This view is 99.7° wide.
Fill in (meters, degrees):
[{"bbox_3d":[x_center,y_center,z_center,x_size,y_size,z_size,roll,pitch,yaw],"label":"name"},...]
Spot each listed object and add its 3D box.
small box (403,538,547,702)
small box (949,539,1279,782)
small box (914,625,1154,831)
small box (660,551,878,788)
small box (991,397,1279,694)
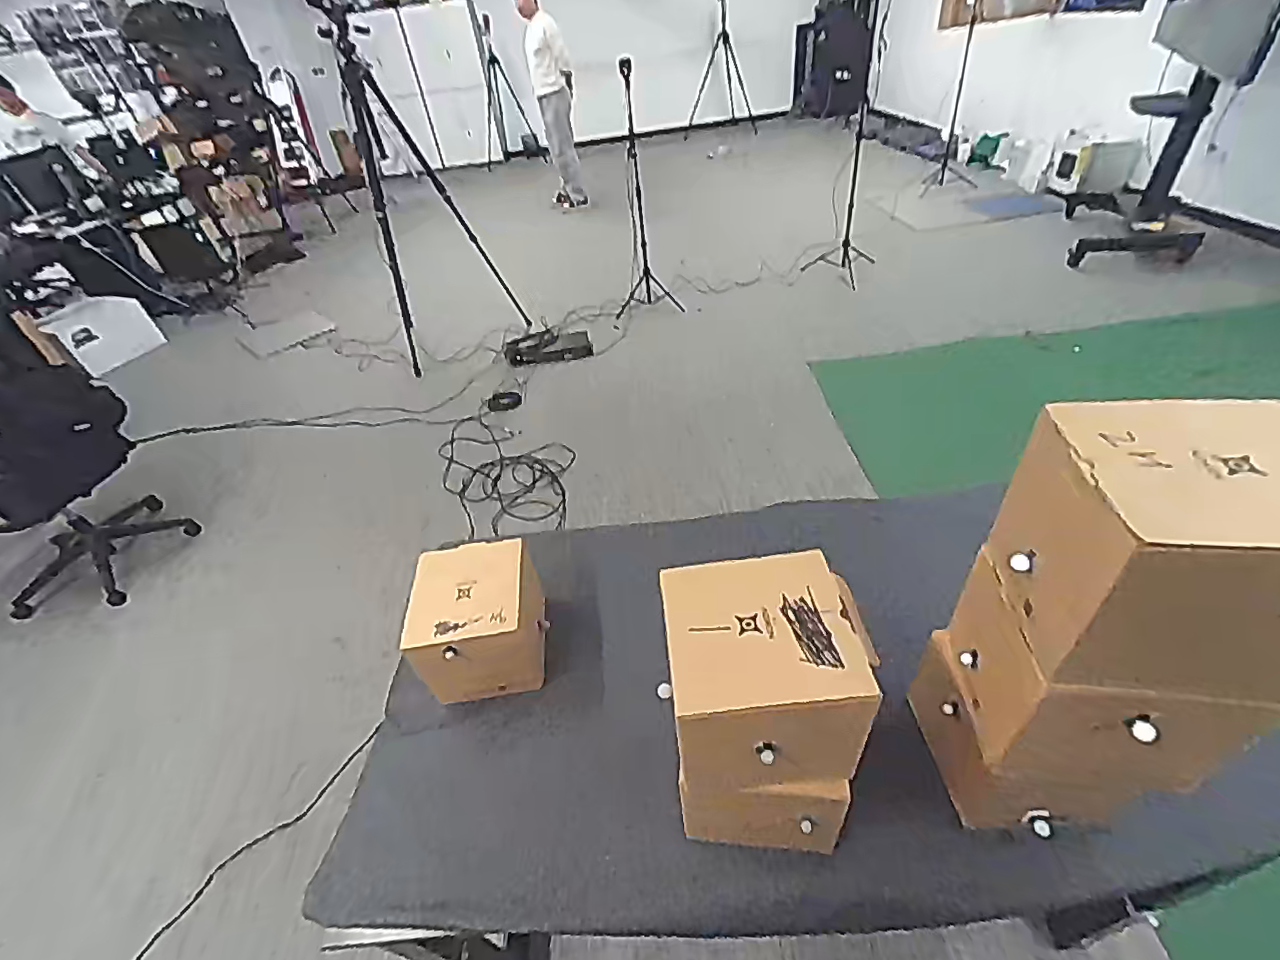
[{"bbox_3d":[-0.247,0.220,0.857,0.168,0.176,0.179,-9,42,-1],"label":"small box"},{"bbox_3d":[0.437,0.176,0.534,0.179,0.176,0.168,-1,40,12],"label":"small box"},{"bbox_3d":[0.456,0.290,0.649,0.168,0.176,0.179,-7,40,3],"label":"small box"},{"bbox_3d":[0.119,0.198,0.564,0.179,0.176,0.168,-7,40,3],"label":"small box"},{"bbox_3d":[0.418,0.050,0.430,0.179,0.176,0.168,0,40,13],"label":"small box"}]
